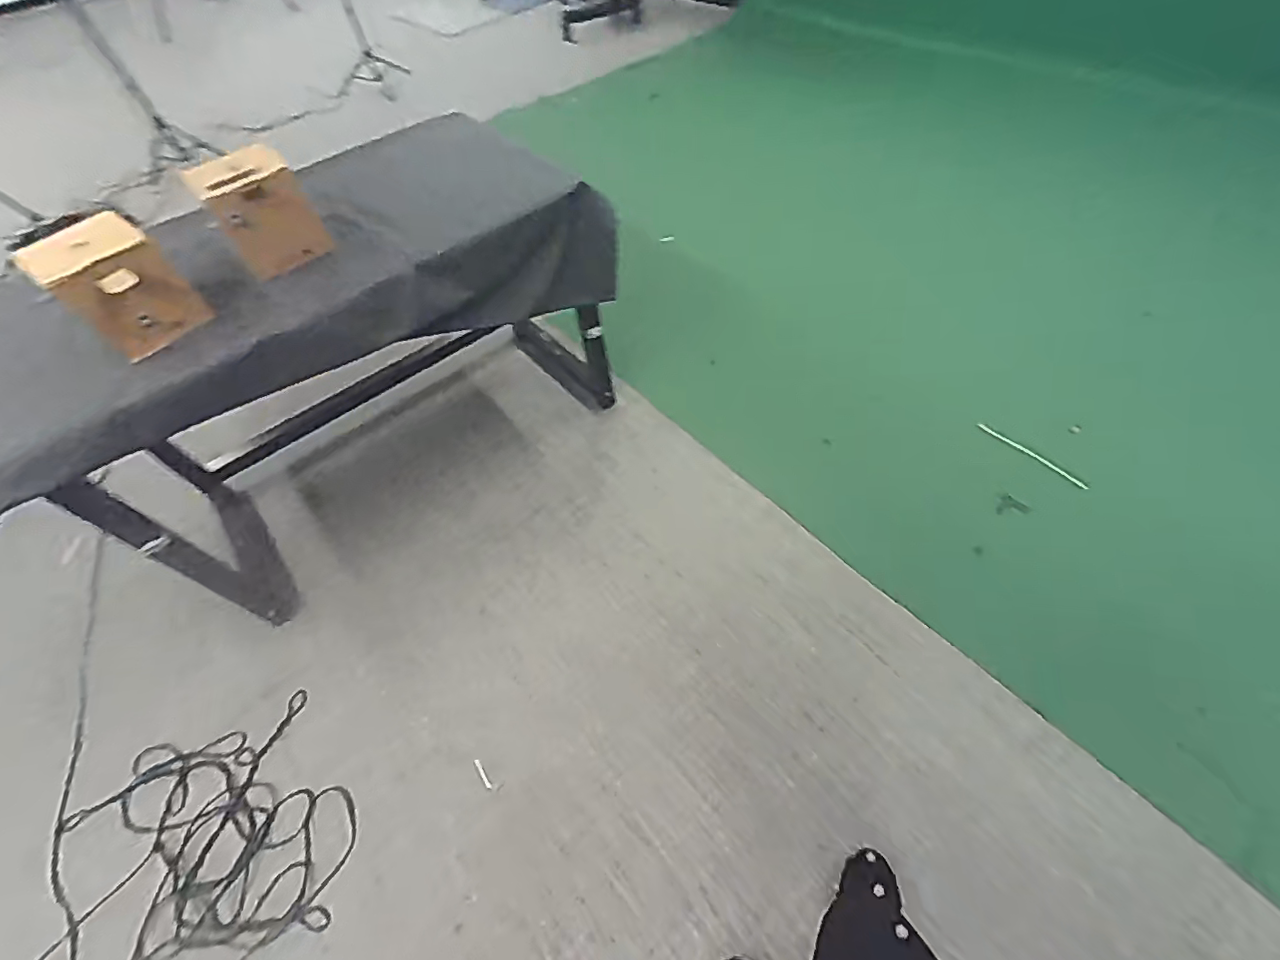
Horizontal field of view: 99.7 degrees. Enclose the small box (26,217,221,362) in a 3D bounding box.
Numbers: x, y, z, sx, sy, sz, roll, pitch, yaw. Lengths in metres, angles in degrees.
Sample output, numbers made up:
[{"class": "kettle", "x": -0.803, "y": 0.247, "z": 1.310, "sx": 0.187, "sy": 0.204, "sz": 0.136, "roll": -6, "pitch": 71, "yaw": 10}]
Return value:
[{"class": "small box", "x": -0.931, "y": -0.345, "z": 0.988, "sx": 0.179, "sy": 0.176, "sz": 0.168, "roll": 31, "pitch": 62, "yaw": 25}]
